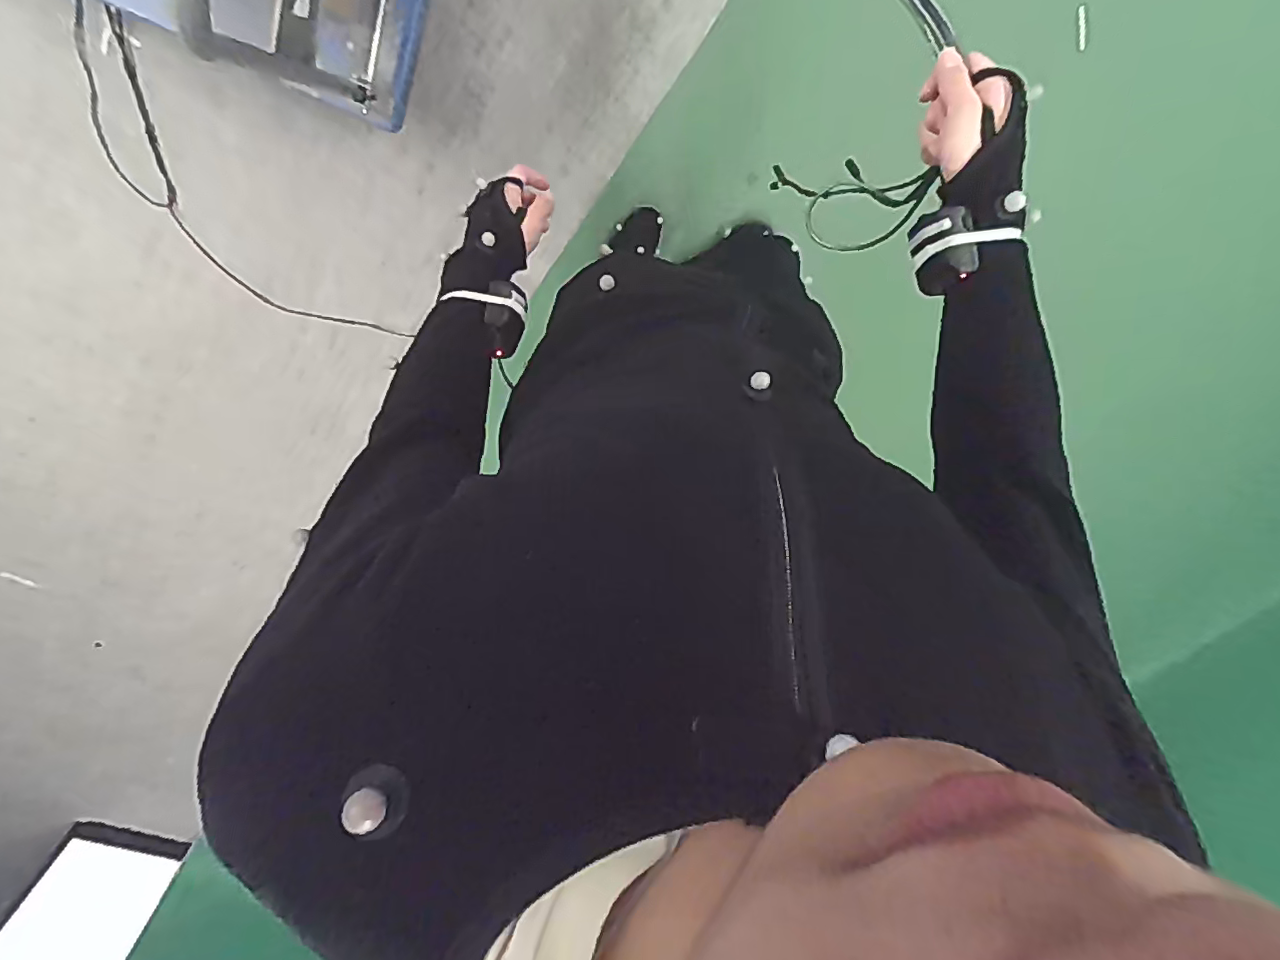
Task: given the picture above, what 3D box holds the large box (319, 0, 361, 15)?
[{"bbox_3d":[-0.644,-0.969,0.771,0.408,0.320,0.320,19,116,-13],"label":"large box"}]
